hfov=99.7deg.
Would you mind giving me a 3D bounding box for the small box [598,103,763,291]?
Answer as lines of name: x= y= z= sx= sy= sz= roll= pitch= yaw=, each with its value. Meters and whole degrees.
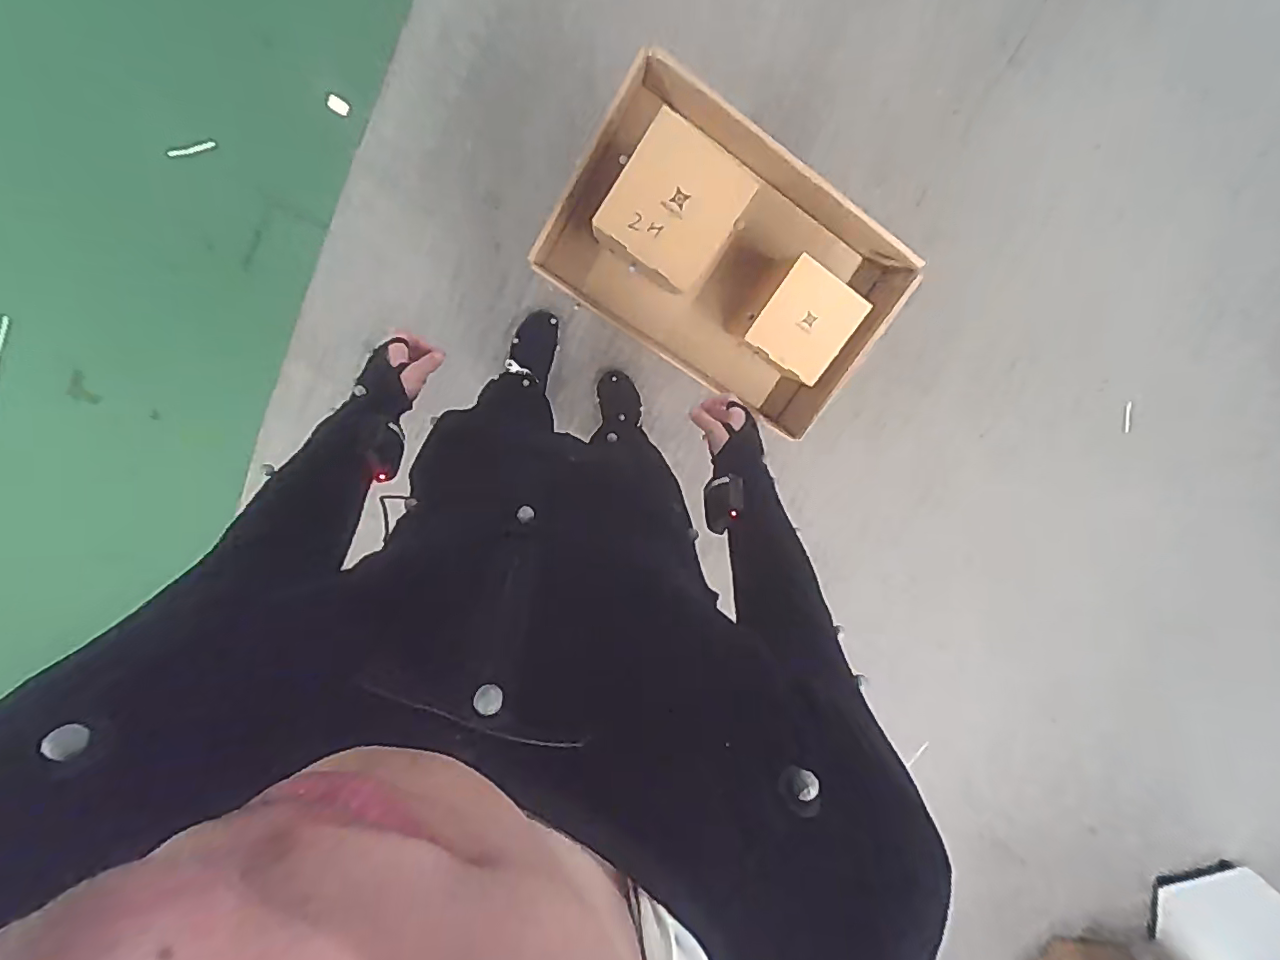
small box: x=0.050 y=-0.407 z=0.813 sx=0.168 sy=0.176 sz=0.179 roll=33 pitch=105 yaw=-12
